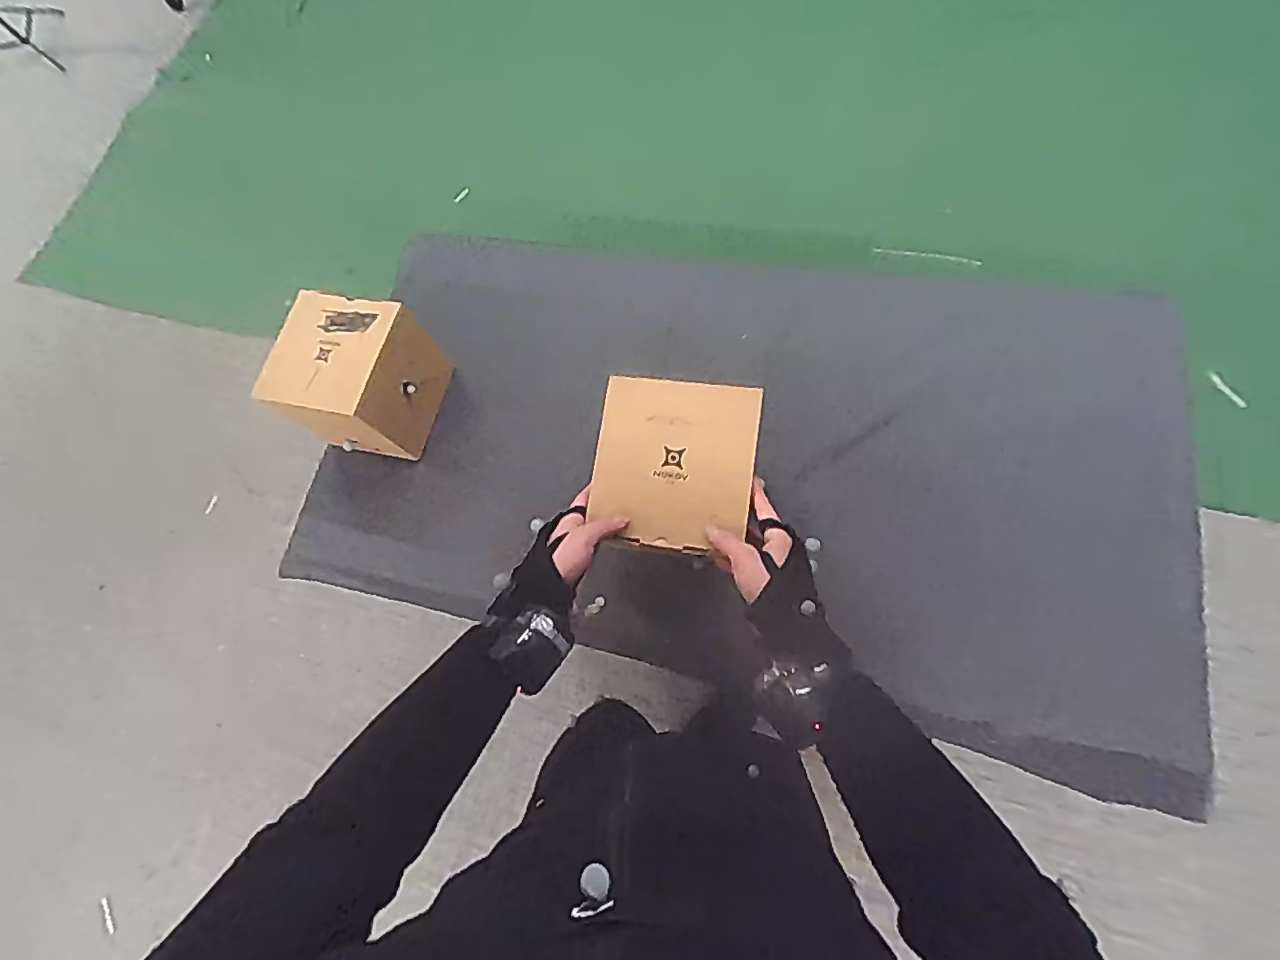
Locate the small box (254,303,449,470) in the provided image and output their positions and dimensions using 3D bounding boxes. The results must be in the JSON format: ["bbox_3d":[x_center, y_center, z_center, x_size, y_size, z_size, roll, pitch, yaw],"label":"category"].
[{"bbox_3d":[-0.413,-0.134,0.812,0.168,0.176,0.179,10,73,11],"label":"small box"}]
